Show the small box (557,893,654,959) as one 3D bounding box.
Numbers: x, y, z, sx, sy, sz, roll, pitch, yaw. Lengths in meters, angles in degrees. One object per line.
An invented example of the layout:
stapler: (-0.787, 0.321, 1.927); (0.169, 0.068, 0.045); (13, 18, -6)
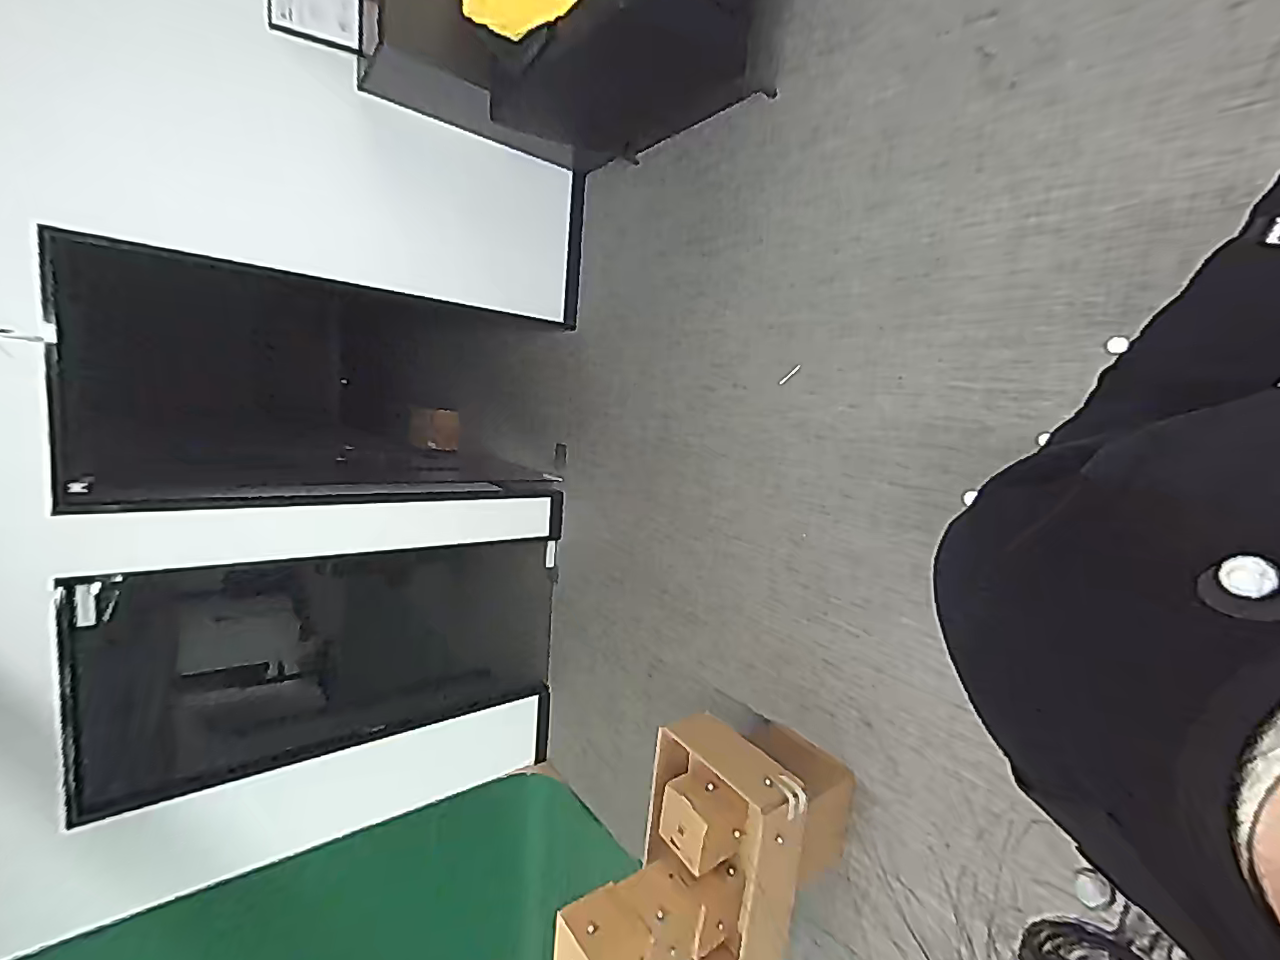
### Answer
small box: (-0.088, 1.174, 1.338); (0.179, 0.176, 0.168); (14, 101, 52)
